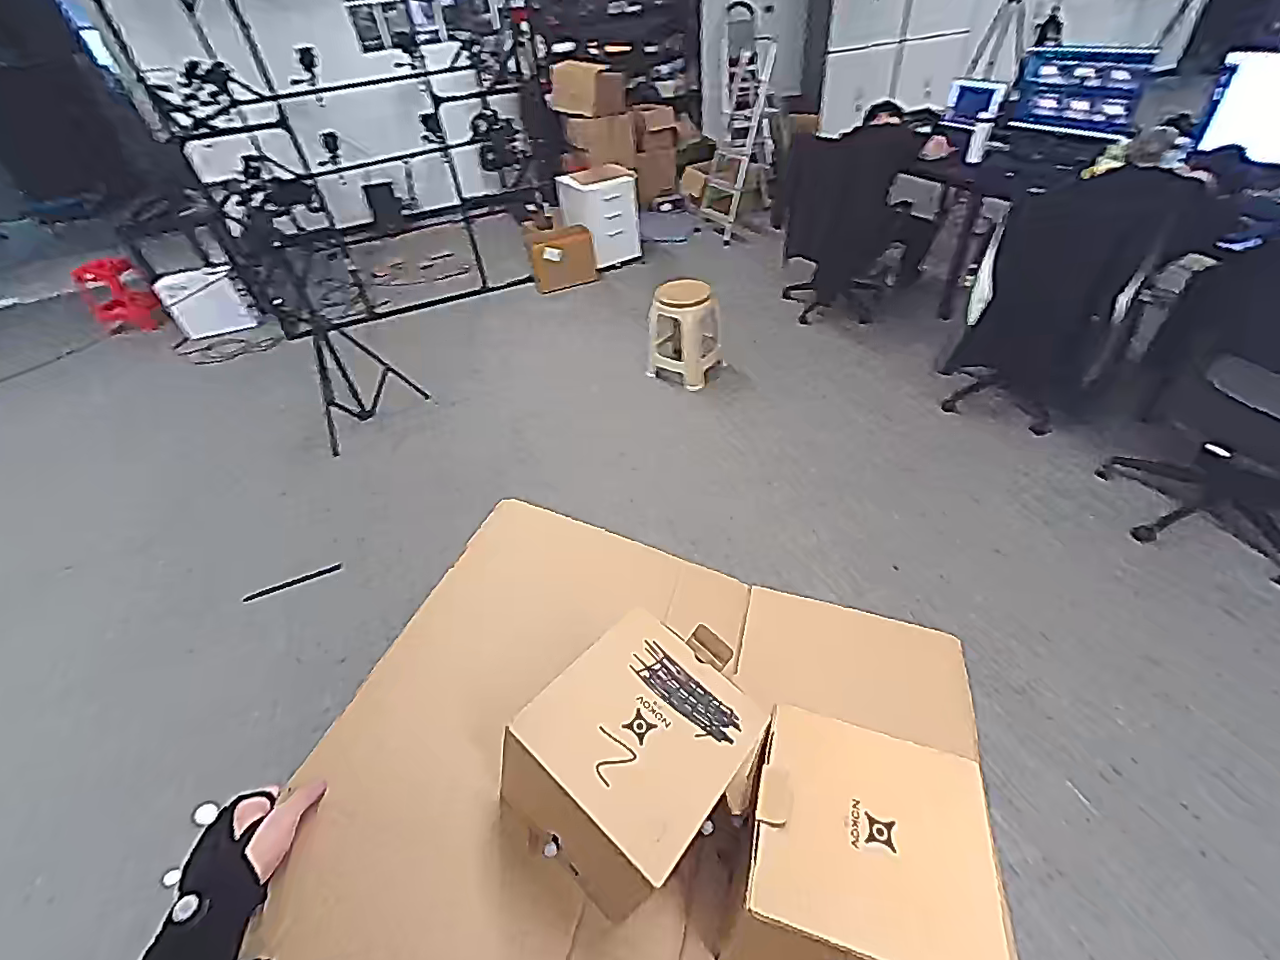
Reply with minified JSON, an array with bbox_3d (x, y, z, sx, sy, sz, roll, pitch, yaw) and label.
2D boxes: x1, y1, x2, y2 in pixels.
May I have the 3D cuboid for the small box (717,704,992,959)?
[{"bbox_3d":[0.177,0.340,0.487,0.179,0.176,0.168,12,40,13],"label":"small box"}]
